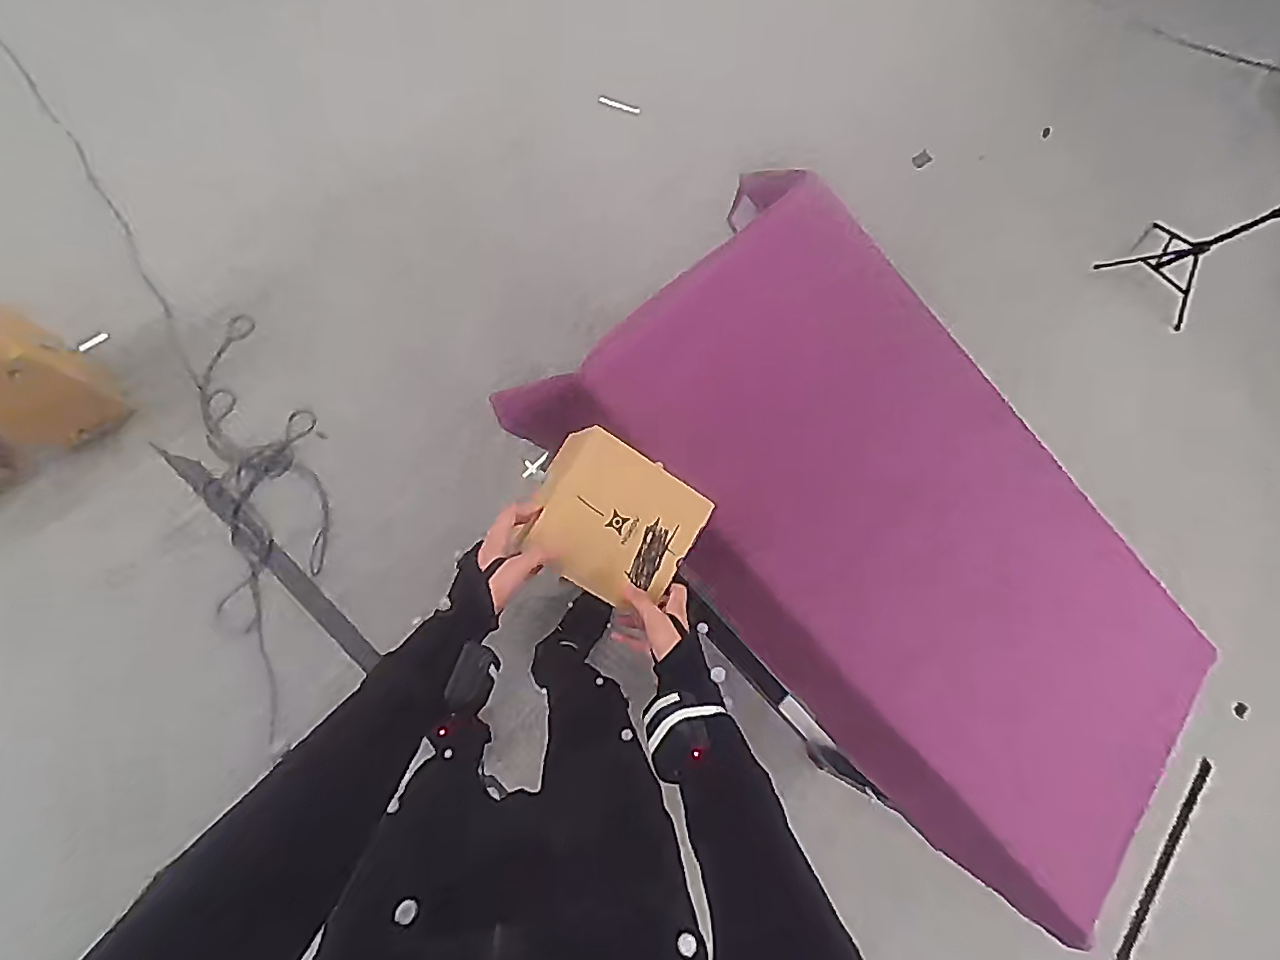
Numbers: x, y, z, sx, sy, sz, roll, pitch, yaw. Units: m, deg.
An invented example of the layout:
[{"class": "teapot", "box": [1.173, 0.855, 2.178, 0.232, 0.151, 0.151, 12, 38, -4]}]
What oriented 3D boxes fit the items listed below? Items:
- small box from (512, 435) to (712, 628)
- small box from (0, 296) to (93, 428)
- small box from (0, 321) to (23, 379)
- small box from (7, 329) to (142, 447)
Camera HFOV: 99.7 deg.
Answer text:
[{"class": "small box", "box": [-0.045, 0.059, 0.695, 0.179, 0.176, 0.168, 34, 80, -15]}, {"class": "small box", "box": [-1.192, -0.219, 0.991, 0.179, 0.176, 0.168, -40, 93, -18]}, {"class": "small box", "box": [-1.148, -0.243, 0.834, 0.168, 0.176, 0.179, -32, 89, -18]}, {"class": "small box", "box": [-1.236, -0.193, 1.145, 0.168, 0.176, 0.179, -42, 94, -18]}]
